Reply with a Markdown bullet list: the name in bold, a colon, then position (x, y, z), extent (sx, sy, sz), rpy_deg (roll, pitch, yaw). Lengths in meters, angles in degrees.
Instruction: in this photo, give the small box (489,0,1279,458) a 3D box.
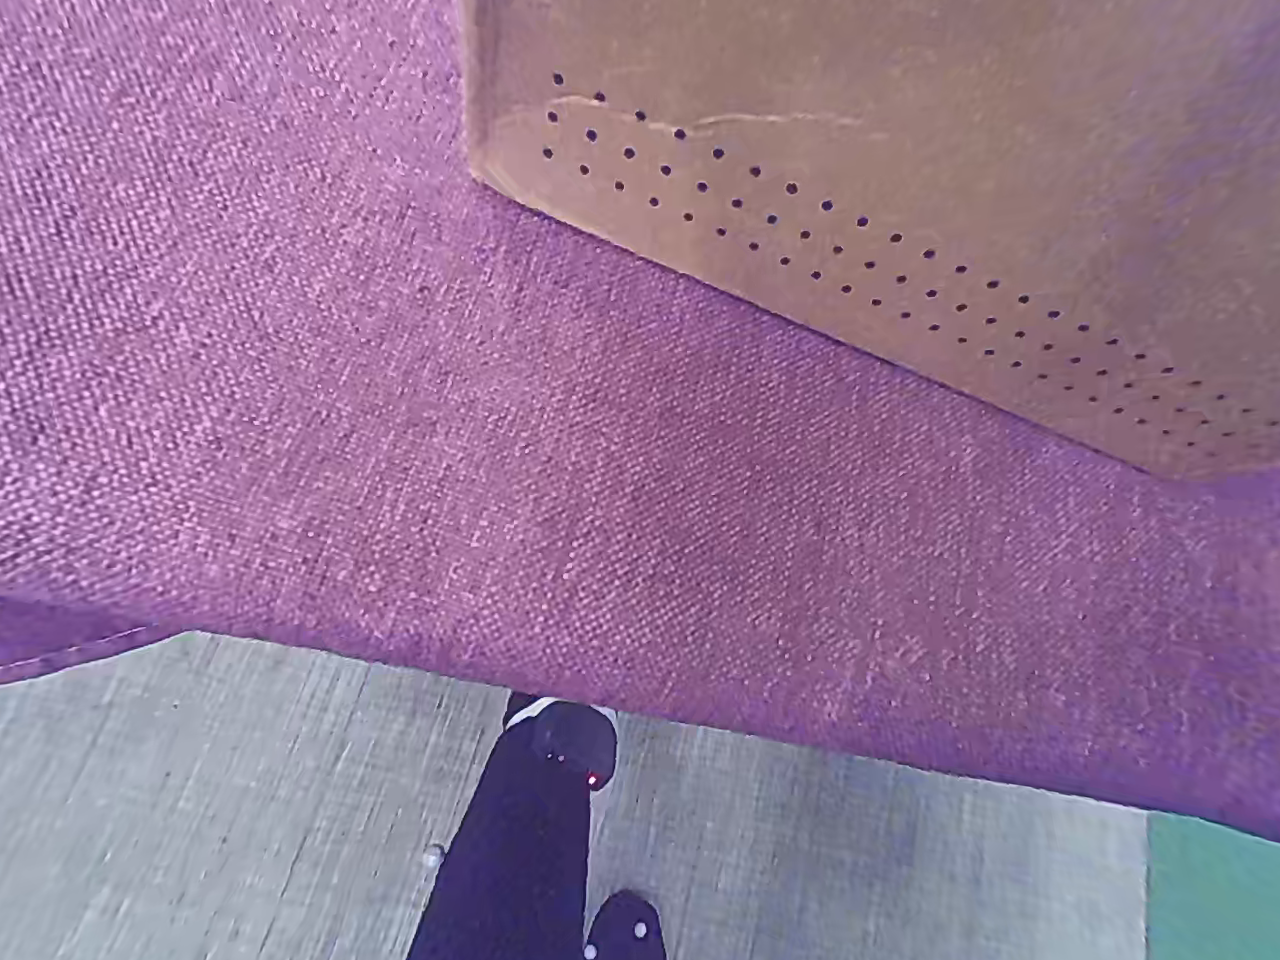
- **small box**: position (0.088, -0.115, 0.060), extent (0.179, 0.176, 0.168), rpy_deg (18, 75, -9)
